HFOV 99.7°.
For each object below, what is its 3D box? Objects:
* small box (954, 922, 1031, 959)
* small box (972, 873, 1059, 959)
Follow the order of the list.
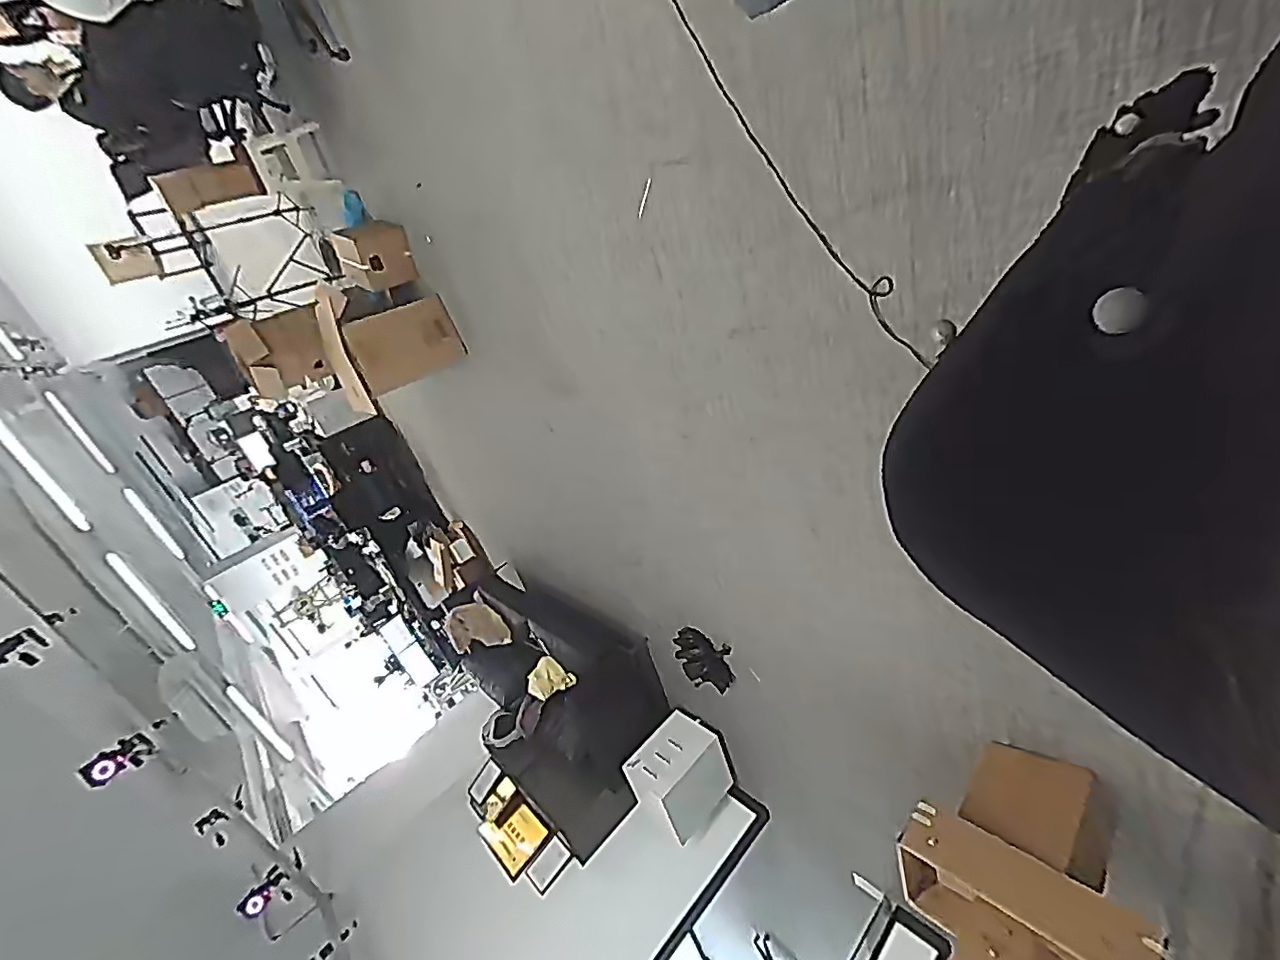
[{"bbox_3d":[1.001,1.414,1.518,0.168,0.176,0.179,6,124,51],"label":"small box"},{"bbox_3d":[1.115,1.329,1.600,0.168,0.176,0.179,4,124,51],"label":"small box"}]
